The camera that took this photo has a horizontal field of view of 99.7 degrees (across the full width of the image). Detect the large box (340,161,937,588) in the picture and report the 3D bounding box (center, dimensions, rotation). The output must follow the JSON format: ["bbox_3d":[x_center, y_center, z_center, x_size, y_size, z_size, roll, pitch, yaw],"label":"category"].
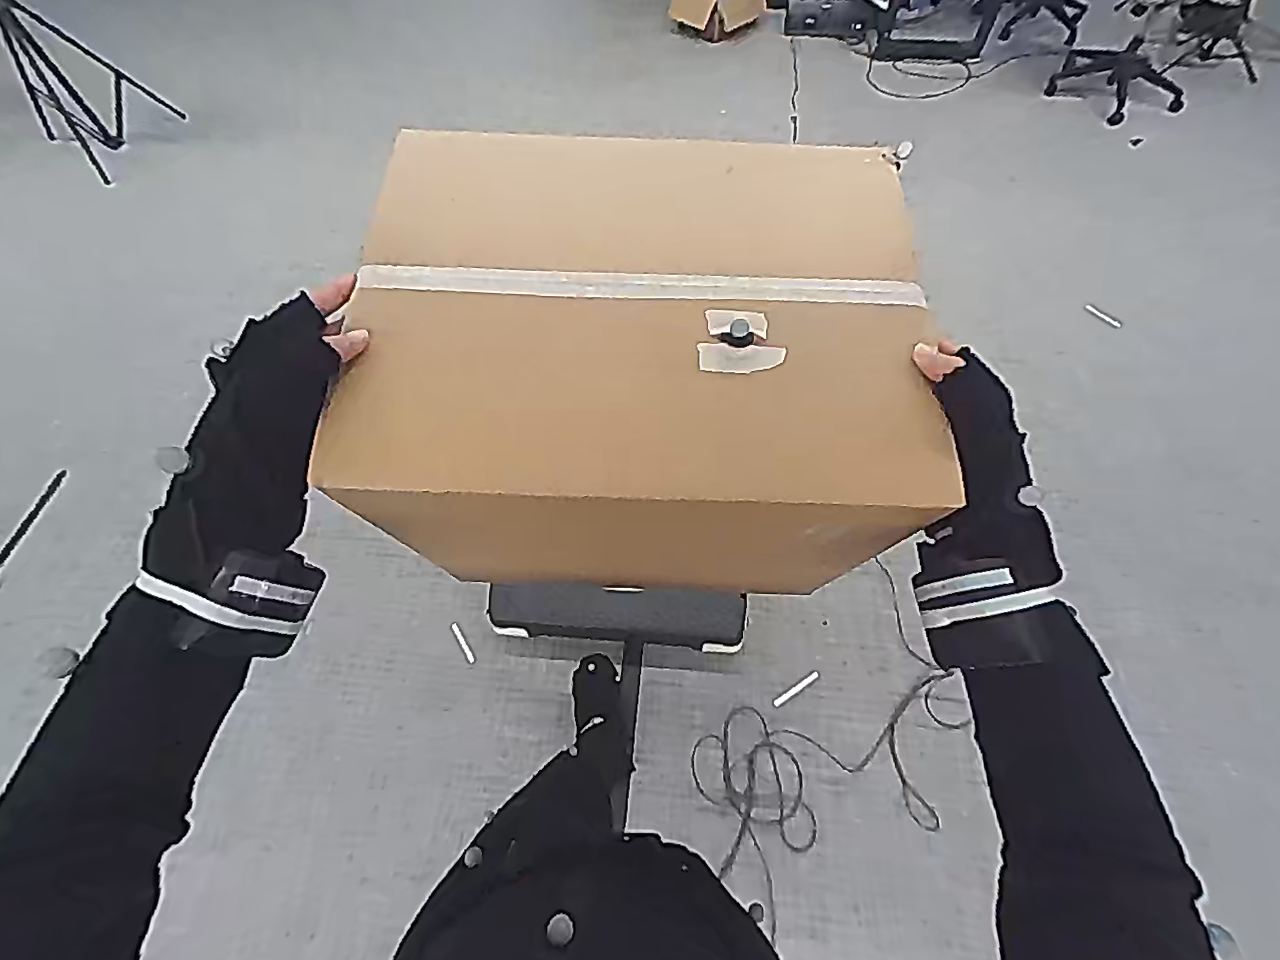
[{"bbox_3d":[-0.002,-0.075,0.549,0.408,0.320,0.320,2,68,0],"label":"large box"}]
